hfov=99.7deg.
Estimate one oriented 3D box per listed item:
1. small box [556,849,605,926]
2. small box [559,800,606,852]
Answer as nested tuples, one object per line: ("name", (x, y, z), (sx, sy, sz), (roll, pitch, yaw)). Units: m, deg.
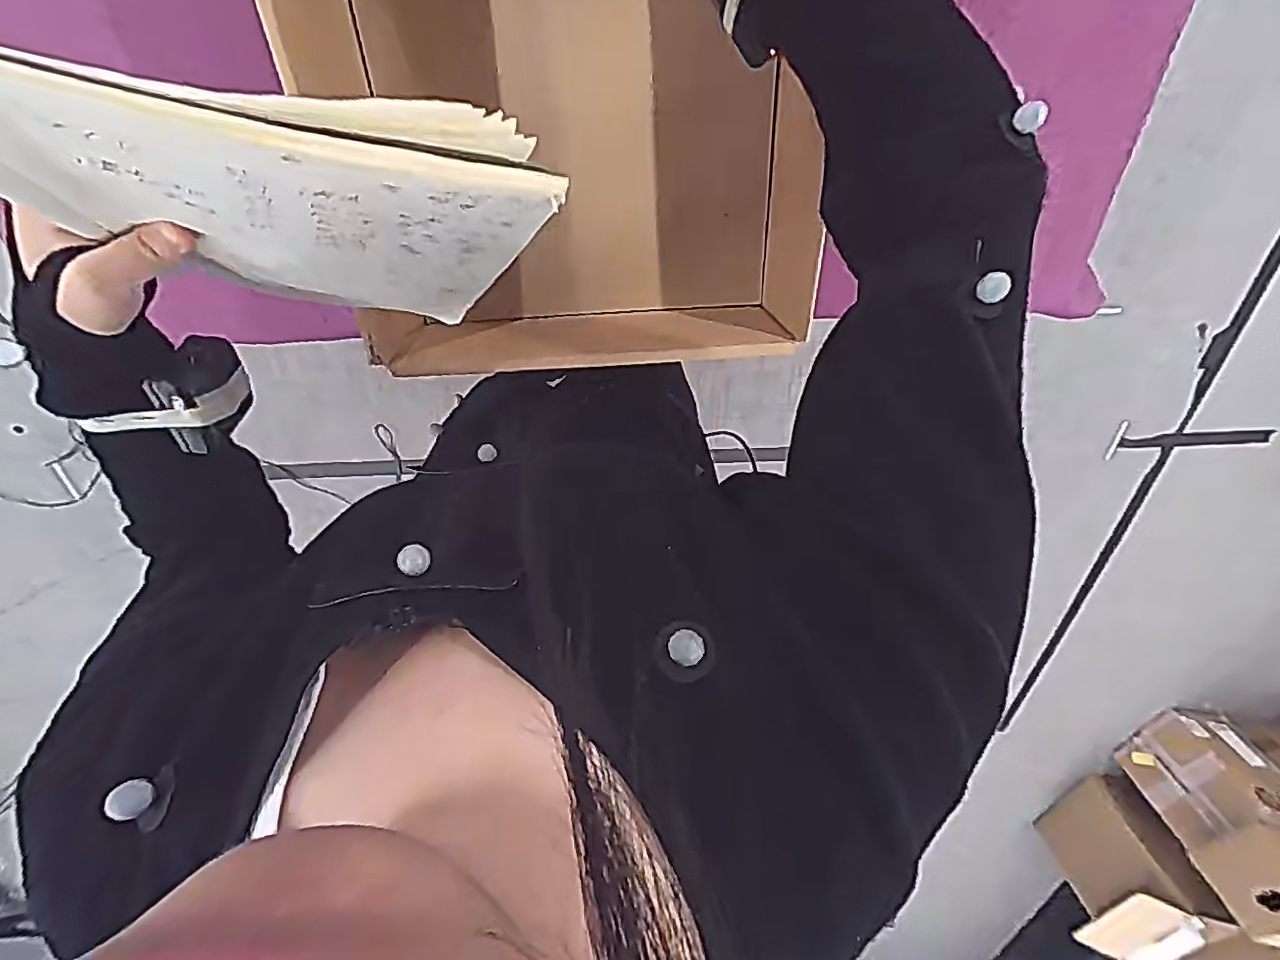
("small box", (-0.207, 1.421, 1.895), (0.168, 0.176, 0.179), (0, 121, -4))
("small box", (-0.218, 1.325, 2.027), (0.168, 0.176, 0.179), (2, 123, -6))
